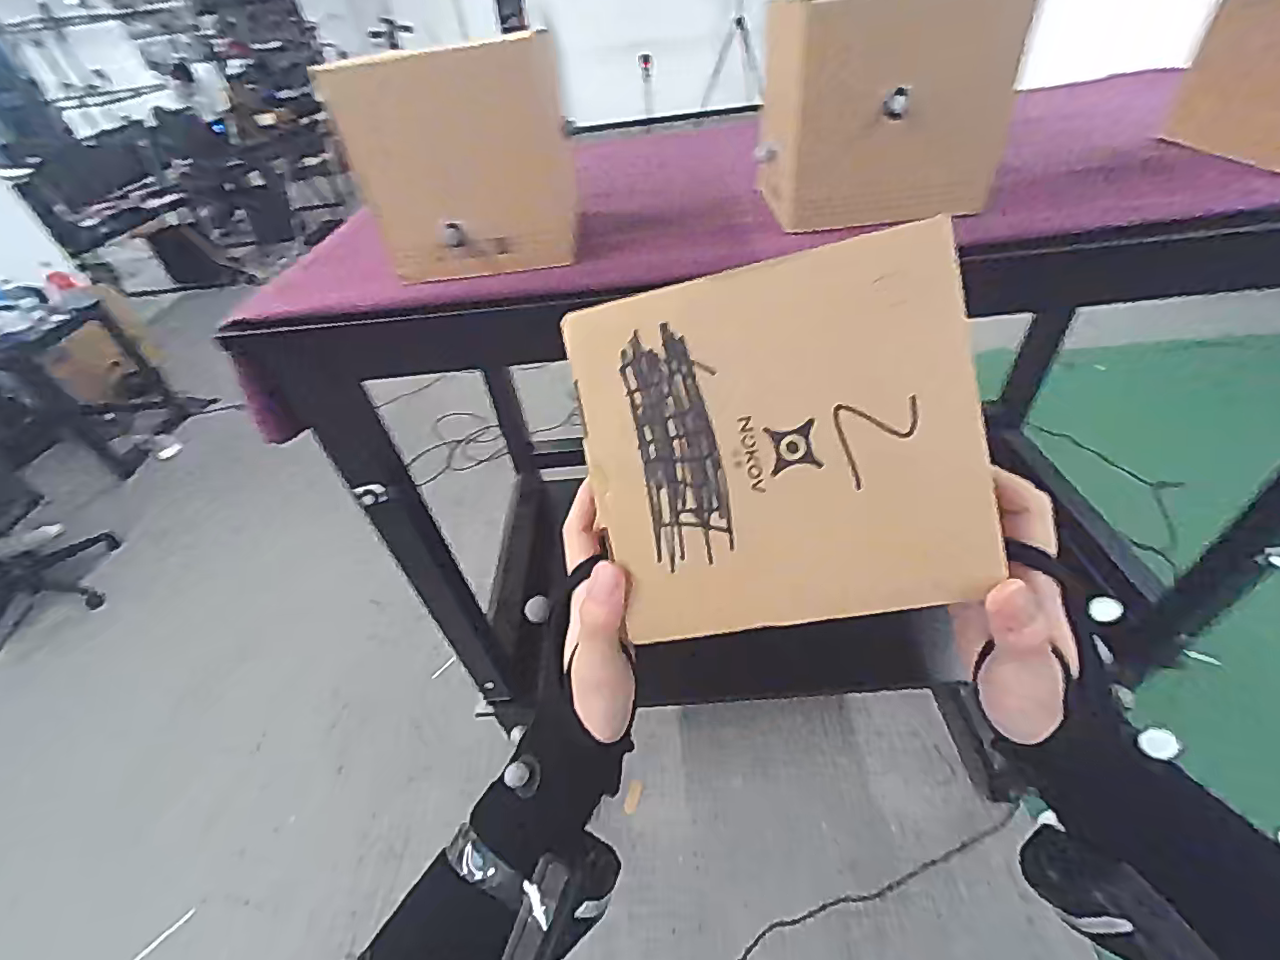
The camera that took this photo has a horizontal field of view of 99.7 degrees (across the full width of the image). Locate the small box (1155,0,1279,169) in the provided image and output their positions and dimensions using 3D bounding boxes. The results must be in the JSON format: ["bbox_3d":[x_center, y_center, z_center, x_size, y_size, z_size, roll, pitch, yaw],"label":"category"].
[{"bbox_3d":[0.635,-0.394,0.482,0.168,0.176,0.179,-5,44,4],"label":"small box"}]

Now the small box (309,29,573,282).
[{"bbox_3d":[-0.161,-0.305,0.511,0.168,0.176,0.179,-7,42,2],"label":"small box"}]

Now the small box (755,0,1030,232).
[{"bbox_3d":[0.206,-0.348,0.500,0.179,0.176,0.168,-5,41,5],"label":"small box"}]
